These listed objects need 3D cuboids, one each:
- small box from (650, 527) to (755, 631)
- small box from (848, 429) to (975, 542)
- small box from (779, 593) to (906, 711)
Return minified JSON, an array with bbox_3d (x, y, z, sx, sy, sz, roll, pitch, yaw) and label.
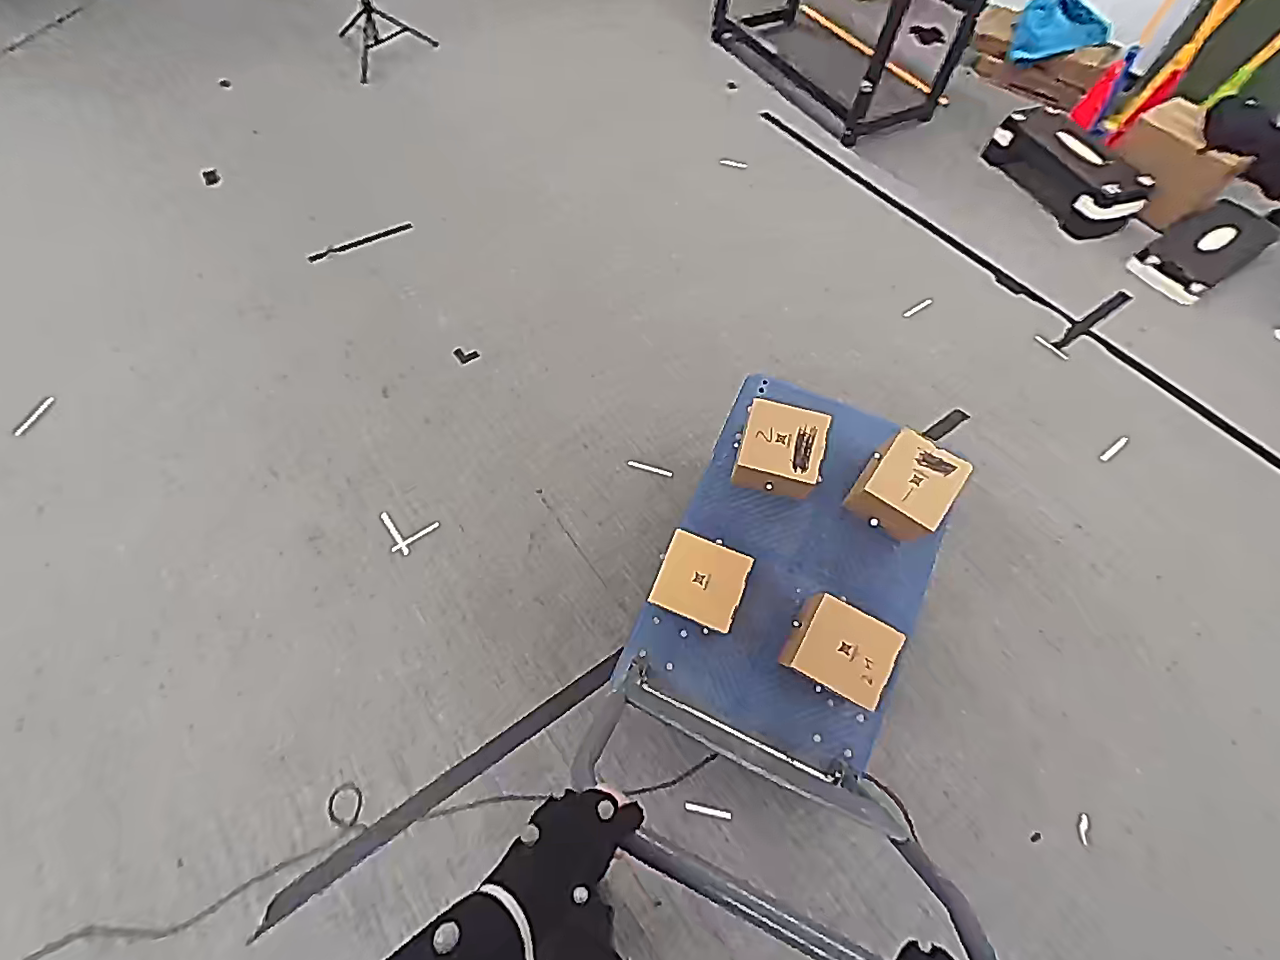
[{"bbox_3d":[0.132,0.224,1.194,0.179,0.176,0.168,22,77,7],"label":"small box"},{"bbox_3d":[0.599,0.019,1.219,0.168,0.176,0.179,35,81,12],"label":"small box"},{"bbox_3d":[0.415,0.358,1.139,0.179,0.176,0.168,29,79,11],"label":"small box"}]
